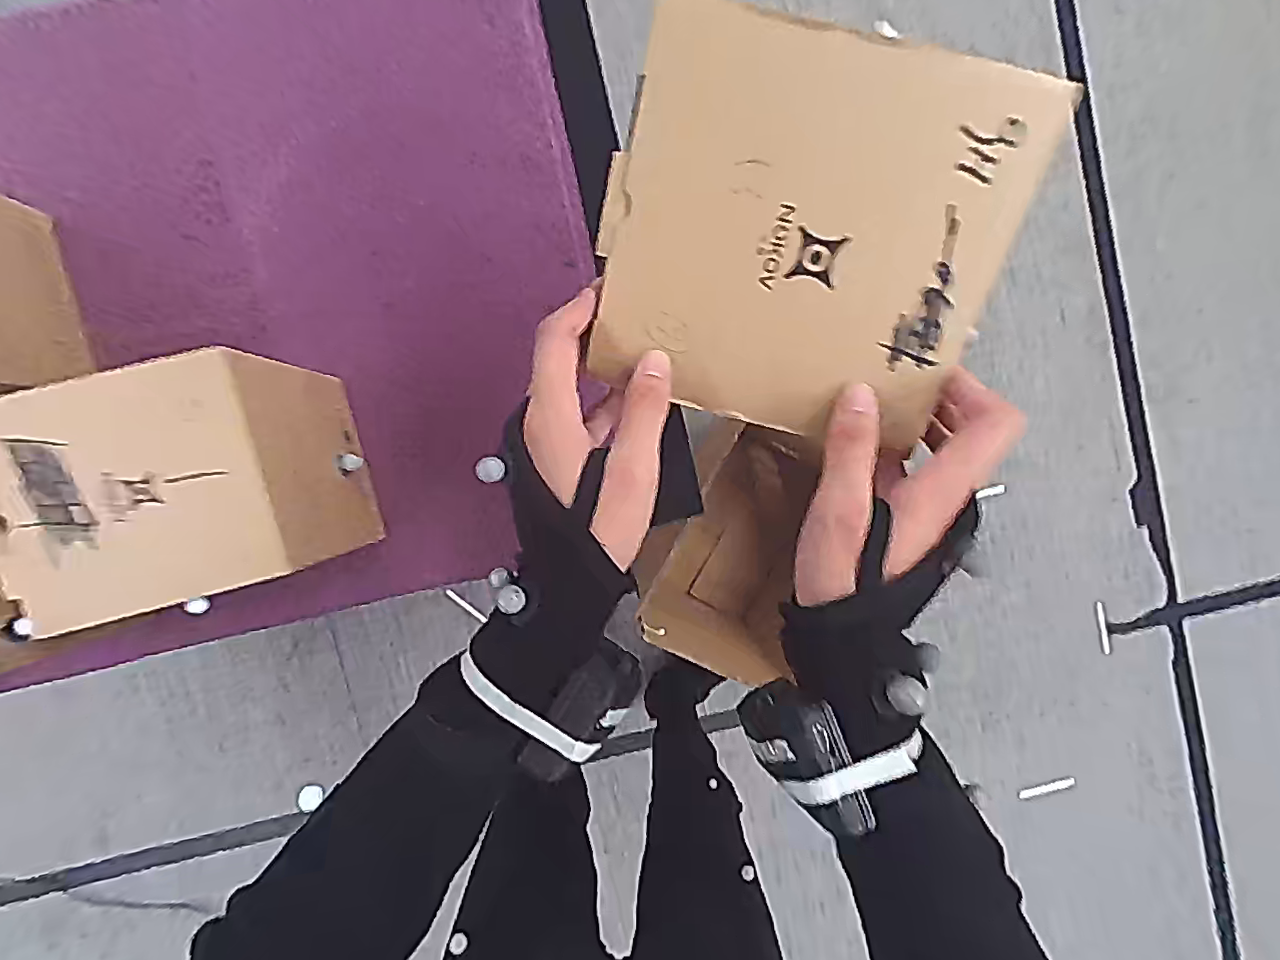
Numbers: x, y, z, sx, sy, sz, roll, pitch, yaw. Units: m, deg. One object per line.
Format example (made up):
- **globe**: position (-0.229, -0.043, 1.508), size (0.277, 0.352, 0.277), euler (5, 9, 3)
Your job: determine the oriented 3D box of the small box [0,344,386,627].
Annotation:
- **small box**: position (-0.347, 0.002, 0.450), size (0.179, 0.176, 0.168), euler (-14, 93, -3)
